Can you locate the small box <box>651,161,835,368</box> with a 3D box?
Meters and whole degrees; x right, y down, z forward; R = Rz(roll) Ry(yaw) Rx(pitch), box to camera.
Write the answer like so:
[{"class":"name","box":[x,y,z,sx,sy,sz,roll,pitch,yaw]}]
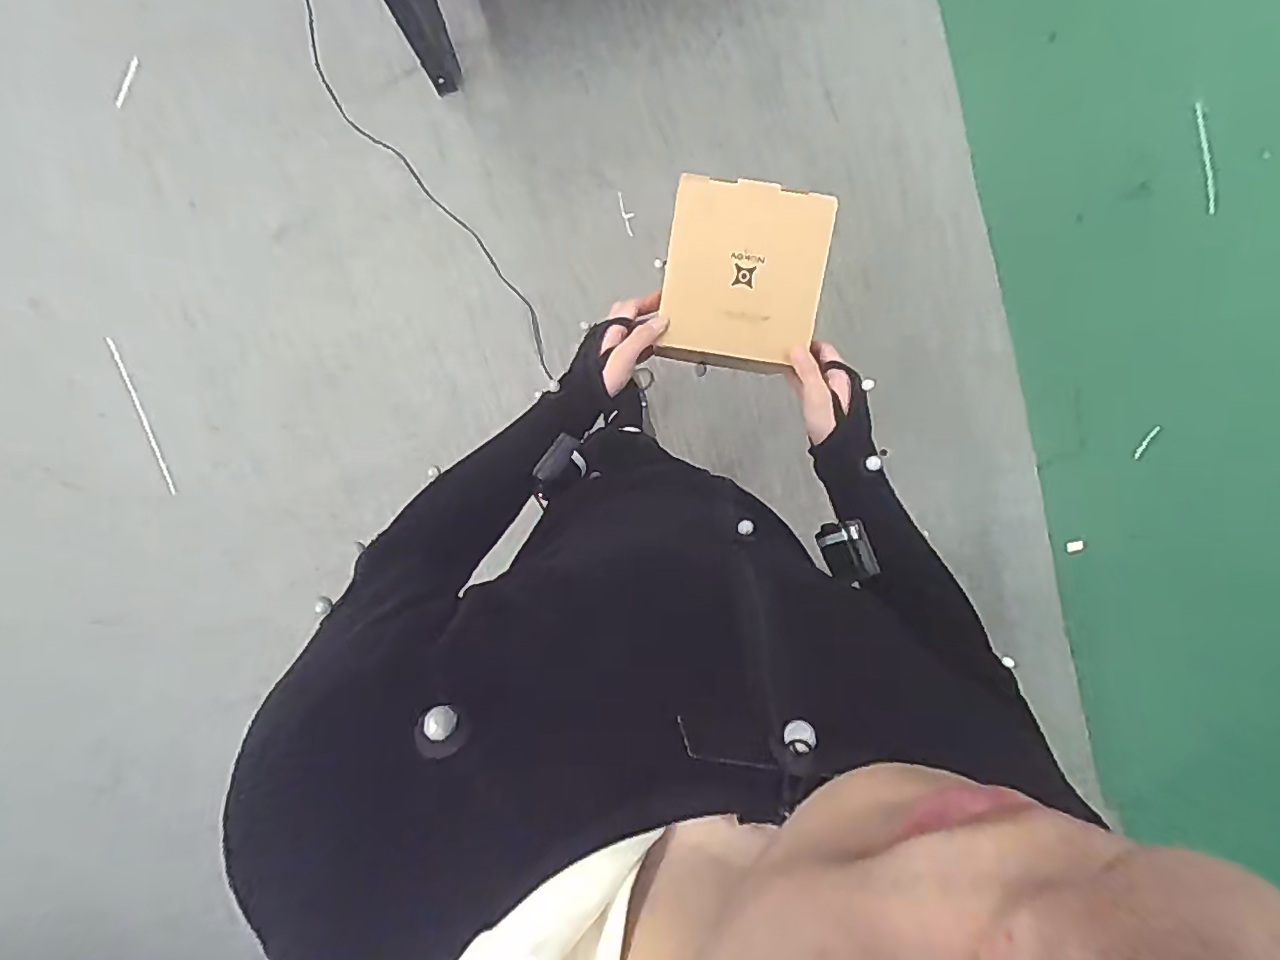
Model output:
[{"class":"small box","box":[0.105,-0.236,0.636,0.168,0.176,0.179,9,99,0]}]
